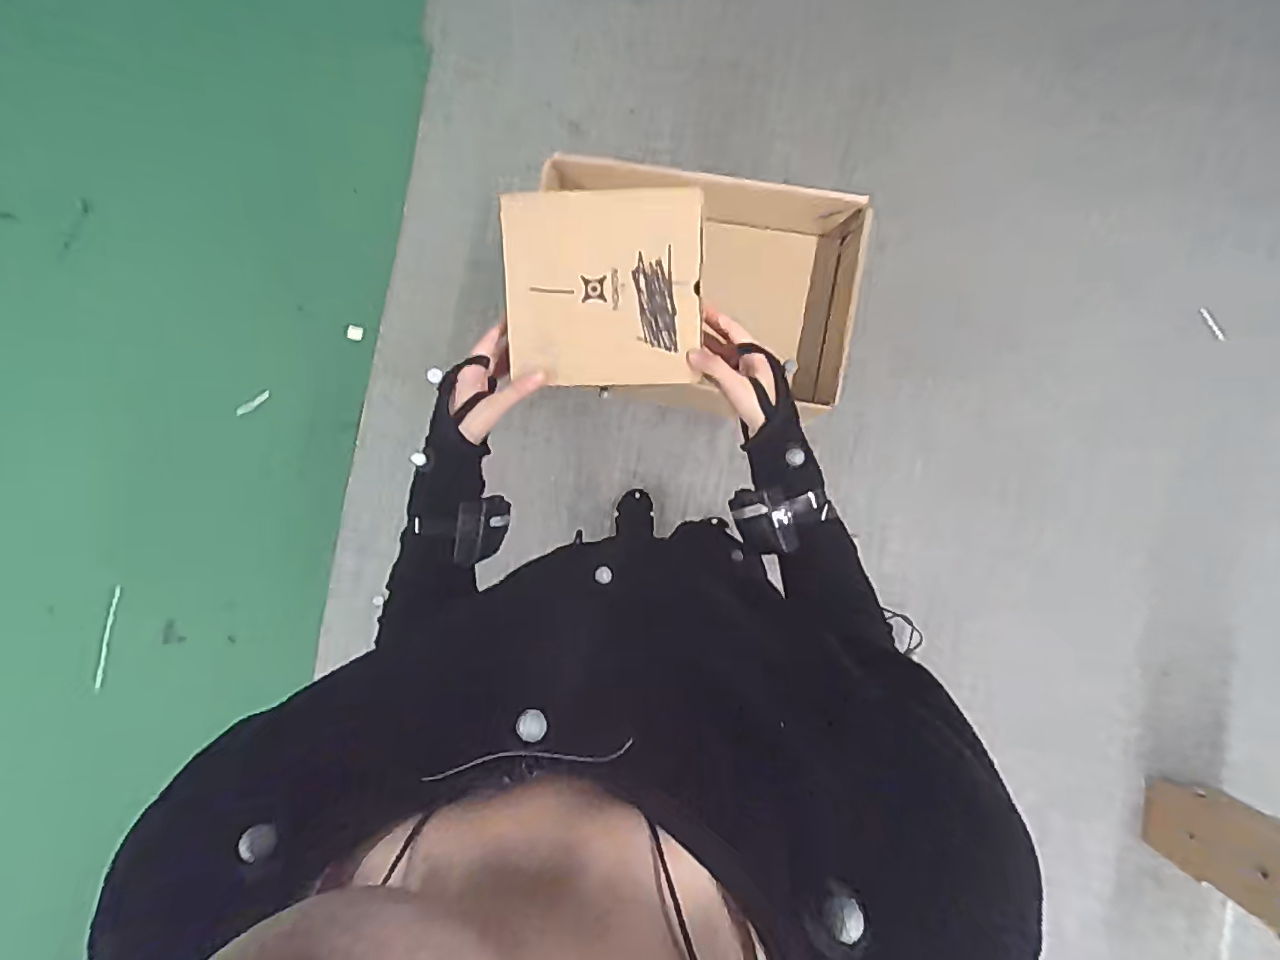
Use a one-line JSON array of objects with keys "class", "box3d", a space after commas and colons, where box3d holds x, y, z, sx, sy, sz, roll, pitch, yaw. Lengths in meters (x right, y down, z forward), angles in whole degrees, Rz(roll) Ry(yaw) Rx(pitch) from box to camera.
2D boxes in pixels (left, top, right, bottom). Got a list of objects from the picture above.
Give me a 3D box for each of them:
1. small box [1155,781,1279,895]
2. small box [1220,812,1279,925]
[{"class": "small box", "box3d": [1.394, 0.856, 1.294, 0.168, 0.176, 0.179, 8, 87, 5]}, {"class": "small box", "box3d": [1.383, 0.836, 1.131, 0.168, 0.176, 0.179, 8, 87, 6]}]
